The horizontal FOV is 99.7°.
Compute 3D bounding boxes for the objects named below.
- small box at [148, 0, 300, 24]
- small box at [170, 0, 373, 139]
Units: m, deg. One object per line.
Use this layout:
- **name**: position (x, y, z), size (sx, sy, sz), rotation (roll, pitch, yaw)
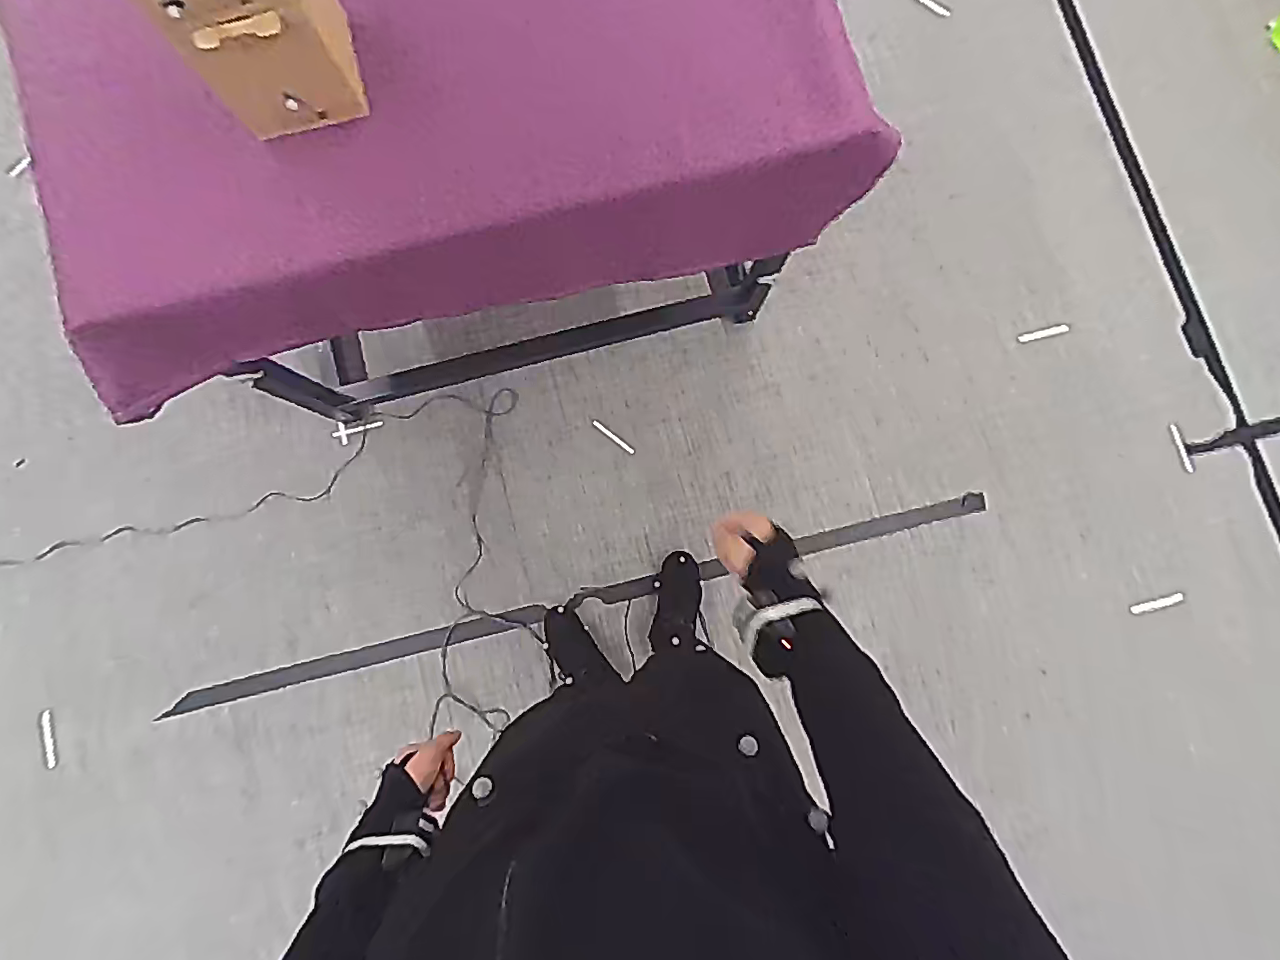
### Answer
- **small box**: position (-0.489, -0.629, 0.565), size (0.168, 0.176, 0.179), rotation (-18, 83, -3)
- **small box**: position (-0.490, -0.609, 0.728), size (0.168, 0.176, 0.179), rotation (-15, 84, -2)
